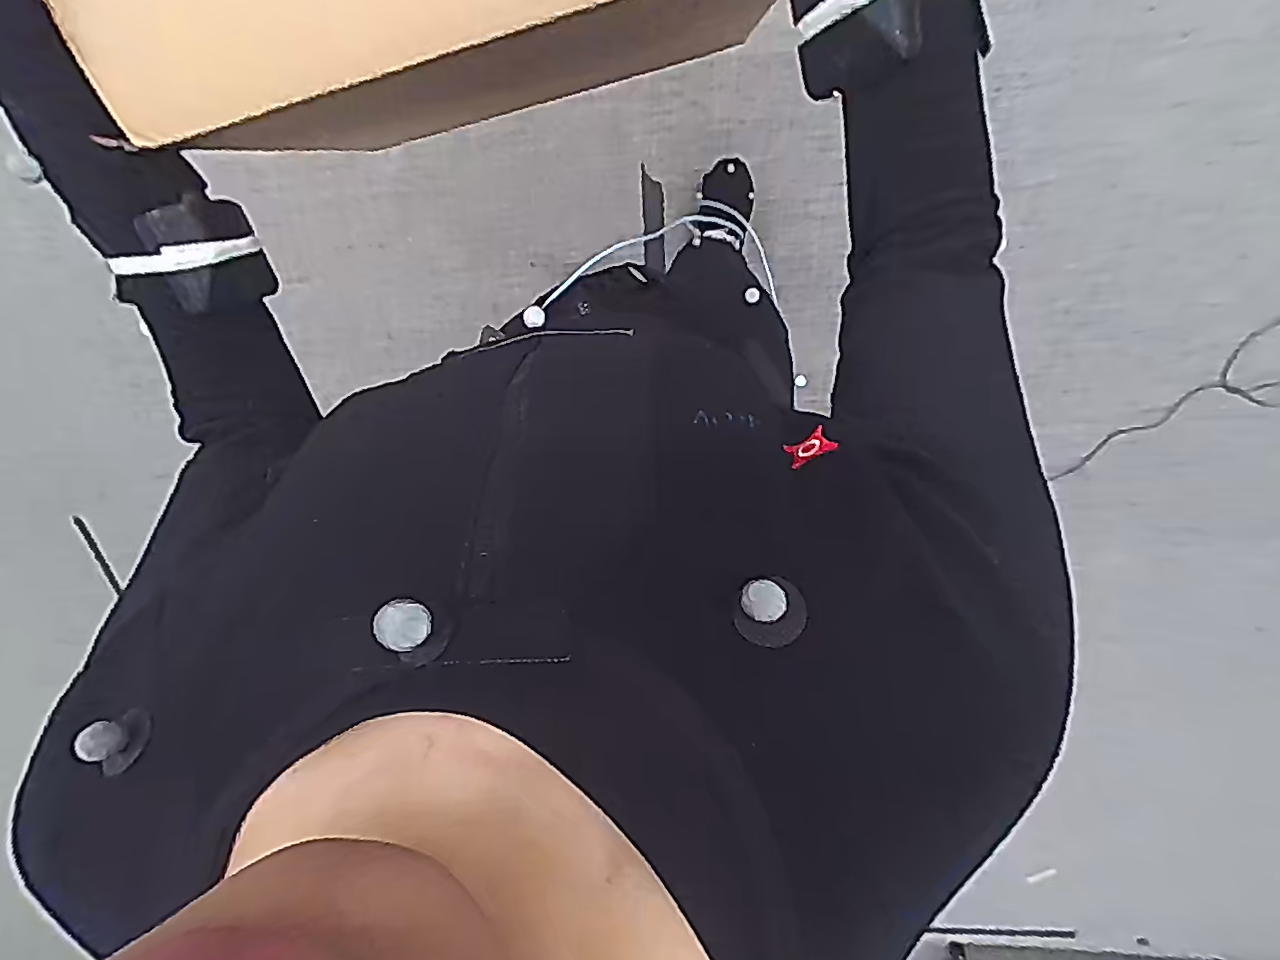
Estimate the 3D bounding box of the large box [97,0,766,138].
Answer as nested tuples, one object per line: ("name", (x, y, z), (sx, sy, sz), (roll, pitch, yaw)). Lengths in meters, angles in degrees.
("large box", (-0.121, -0.452, 0.349), (0.408, 0.320, 0.320), (-10, 121, 7))
